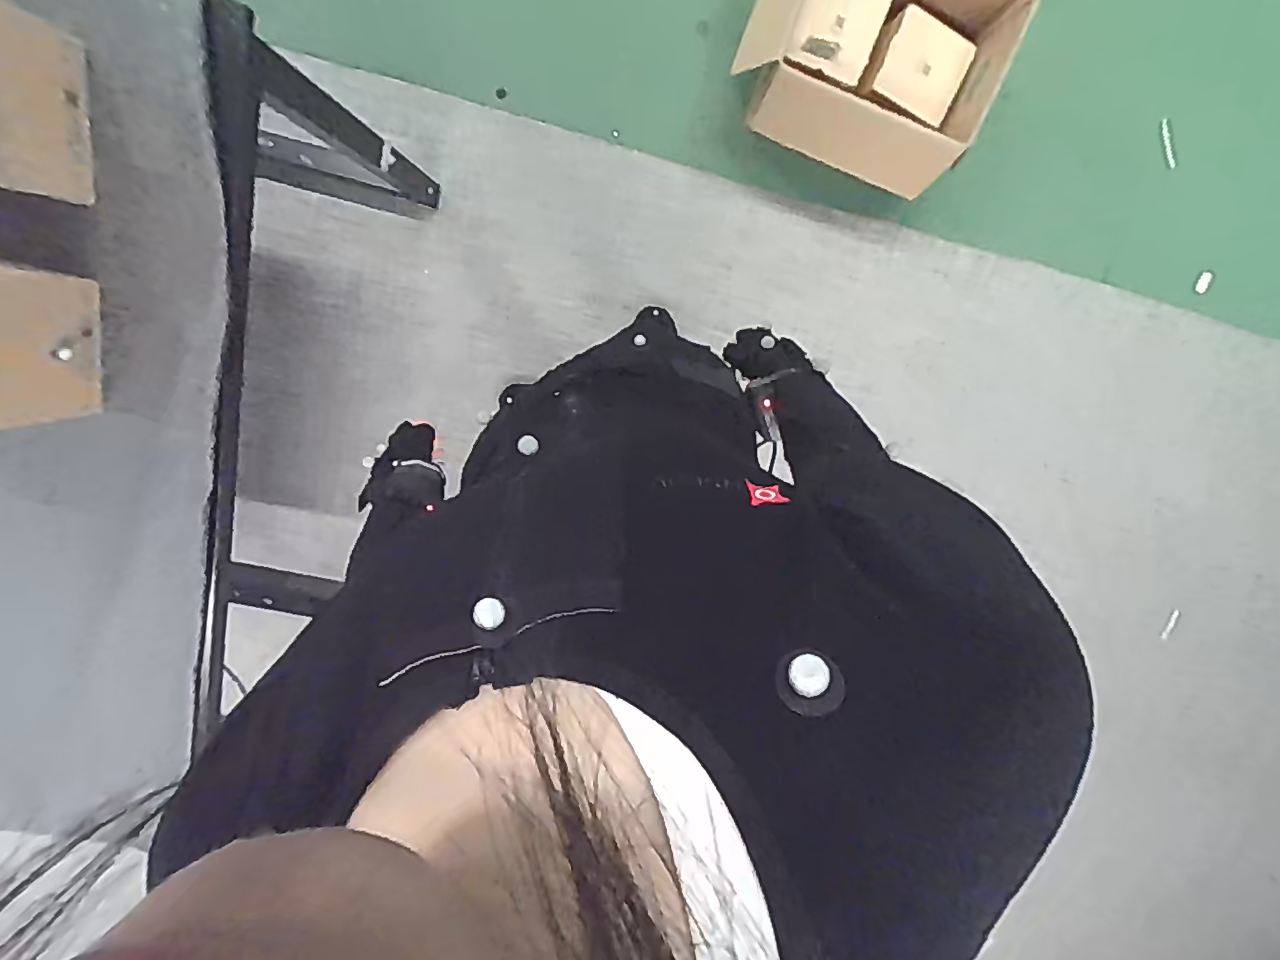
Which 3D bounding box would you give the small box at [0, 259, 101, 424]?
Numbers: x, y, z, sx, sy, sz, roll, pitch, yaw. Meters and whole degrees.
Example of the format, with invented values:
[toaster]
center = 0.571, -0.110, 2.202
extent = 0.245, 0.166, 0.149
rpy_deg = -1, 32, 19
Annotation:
[small box]
center = -0.747, -0.155, 0.579
extent = 0.179, 0.176, 0.168
rpy_deg = 12, 105, -6
